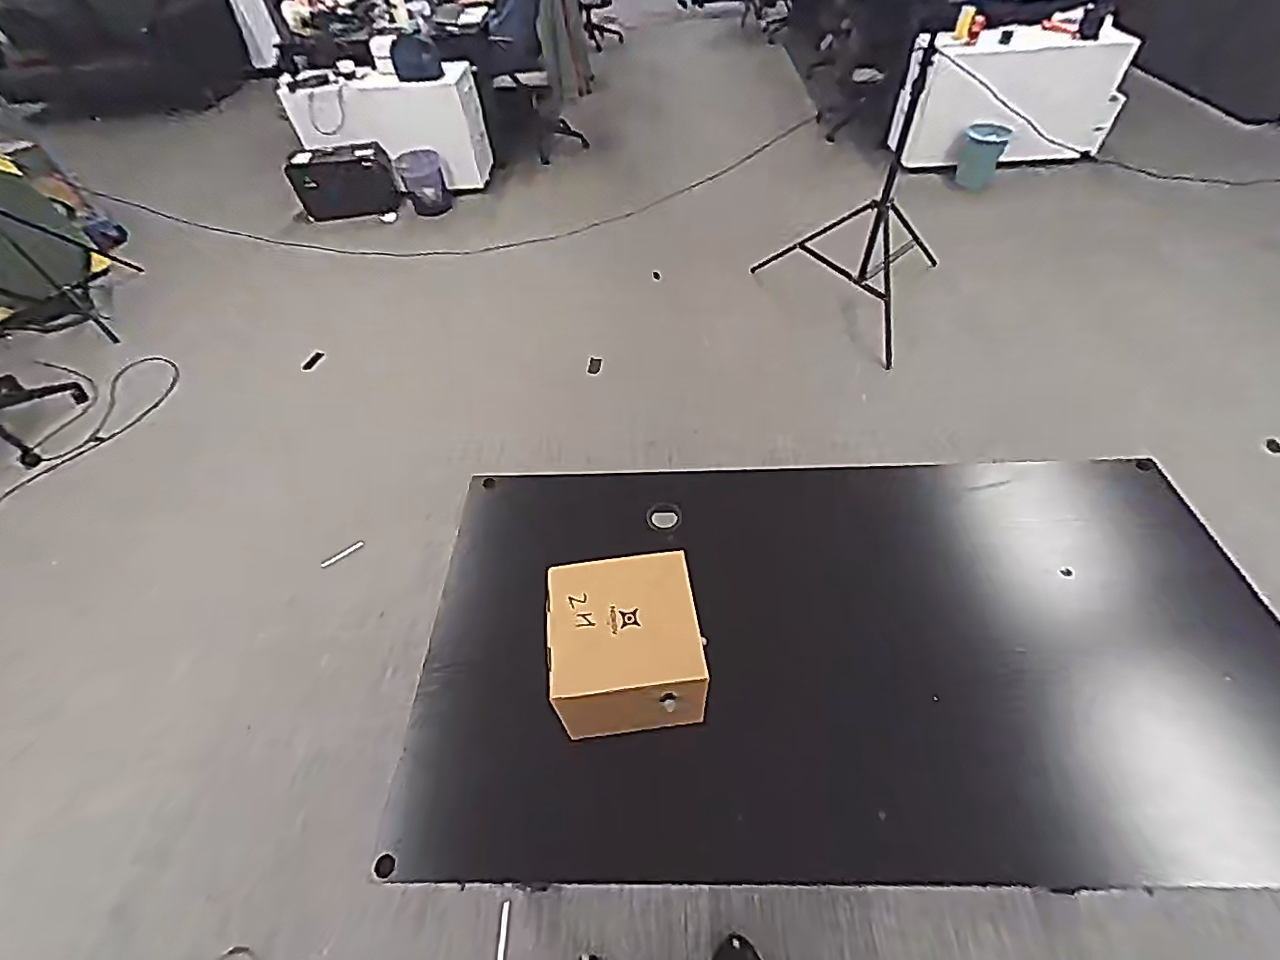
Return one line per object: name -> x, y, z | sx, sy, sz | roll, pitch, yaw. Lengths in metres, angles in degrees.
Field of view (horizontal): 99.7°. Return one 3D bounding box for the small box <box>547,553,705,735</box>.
small box -> -0.020, 0.216, 0.701 | 0.179, 0.176, 0.168 | -8, 51, -2
